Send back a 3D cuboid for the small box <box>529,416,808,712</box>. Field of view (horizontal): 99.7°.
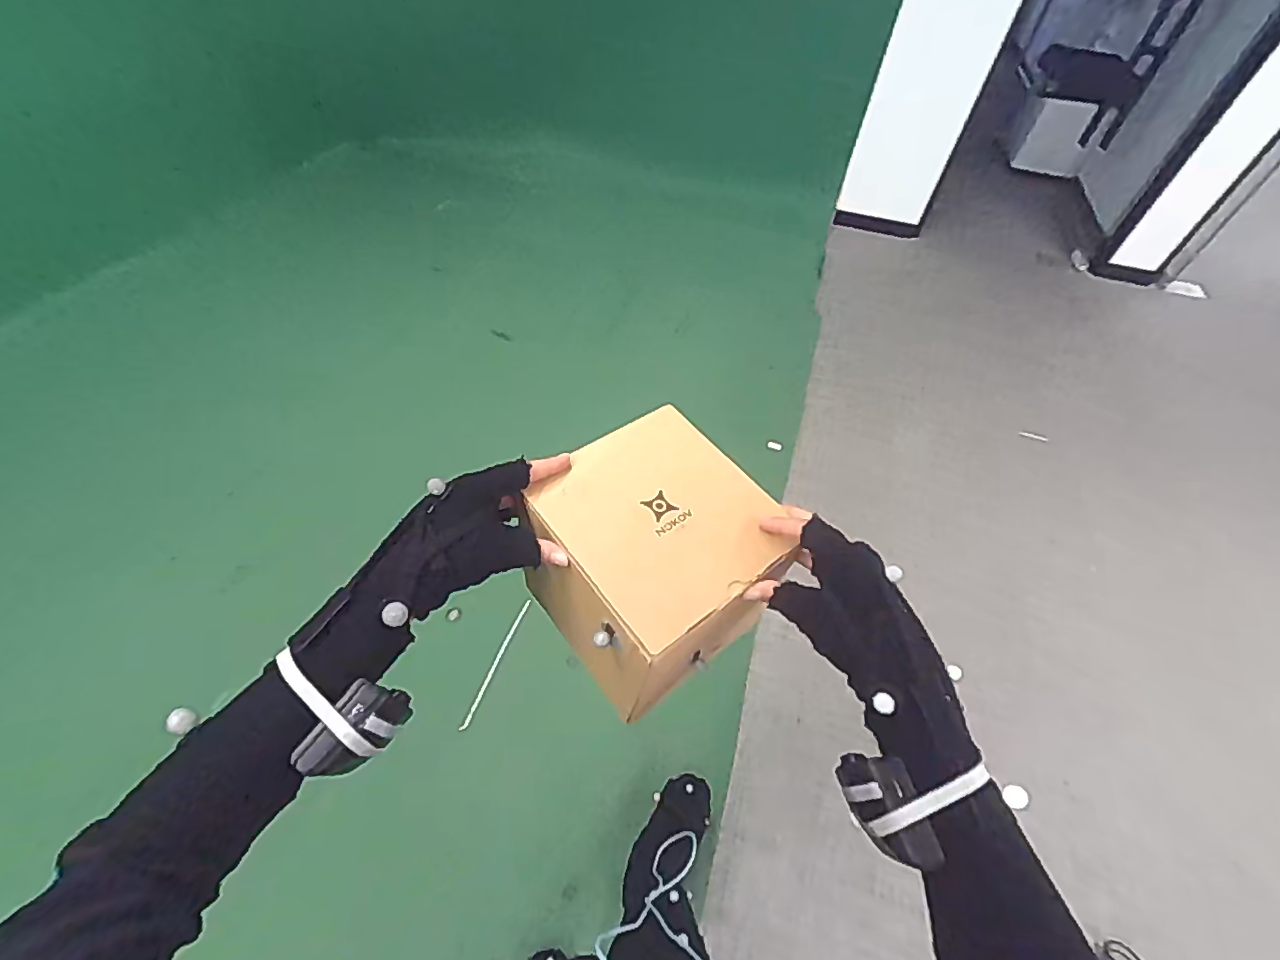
[{"bbox_3d":[0.012,0.078,0.498,0.168,0.176,0.179,-28,62,-27],"label":"small box"}]
